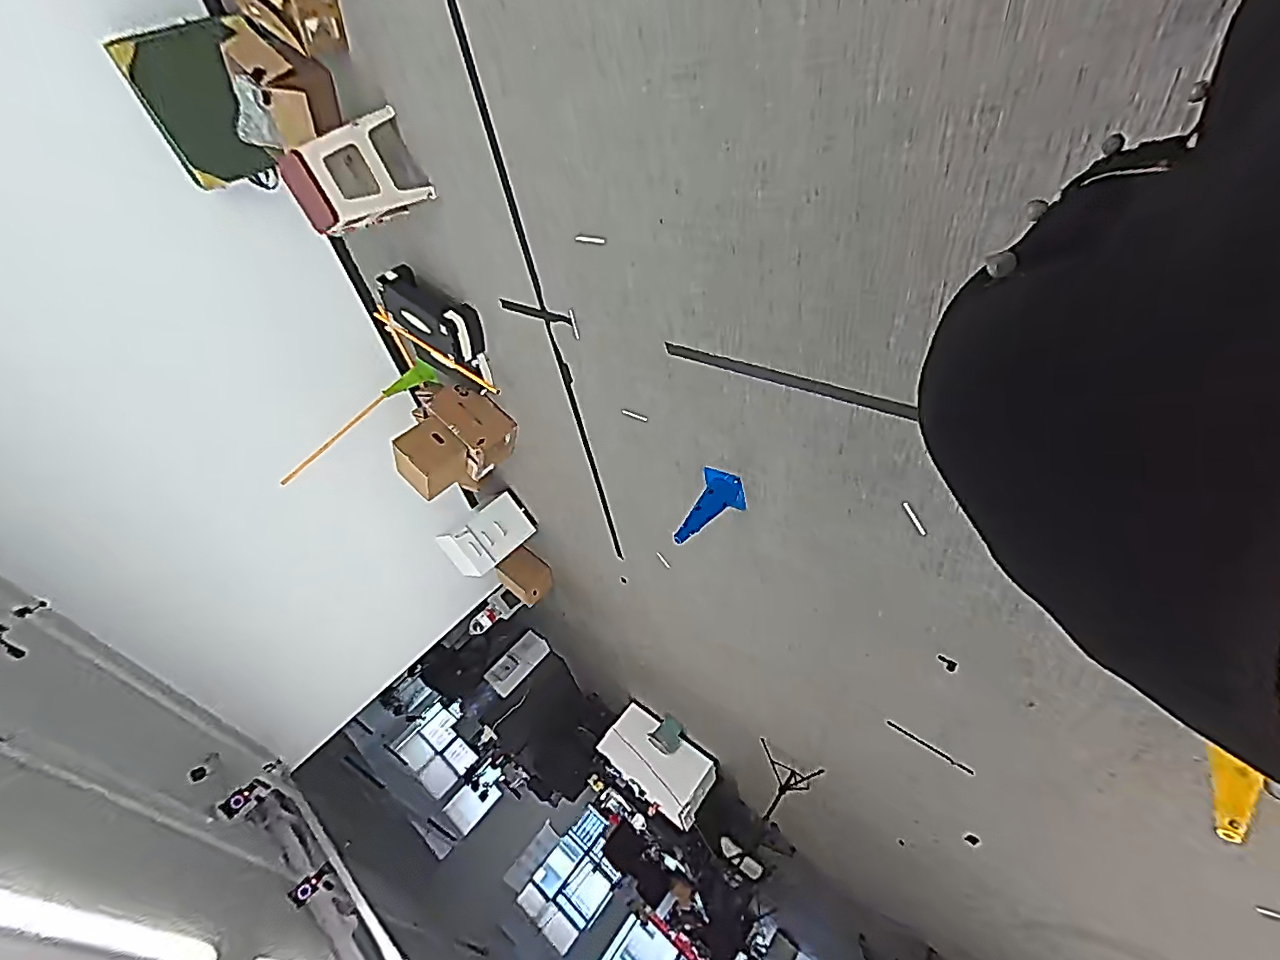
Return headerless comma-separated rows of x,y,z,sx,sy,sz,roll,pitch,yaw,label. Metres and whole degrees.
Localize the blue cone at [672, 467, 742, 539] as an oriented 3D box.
0.266,0.131,2.337,0.193,0.380,0.192,21,141,38,blue cone
